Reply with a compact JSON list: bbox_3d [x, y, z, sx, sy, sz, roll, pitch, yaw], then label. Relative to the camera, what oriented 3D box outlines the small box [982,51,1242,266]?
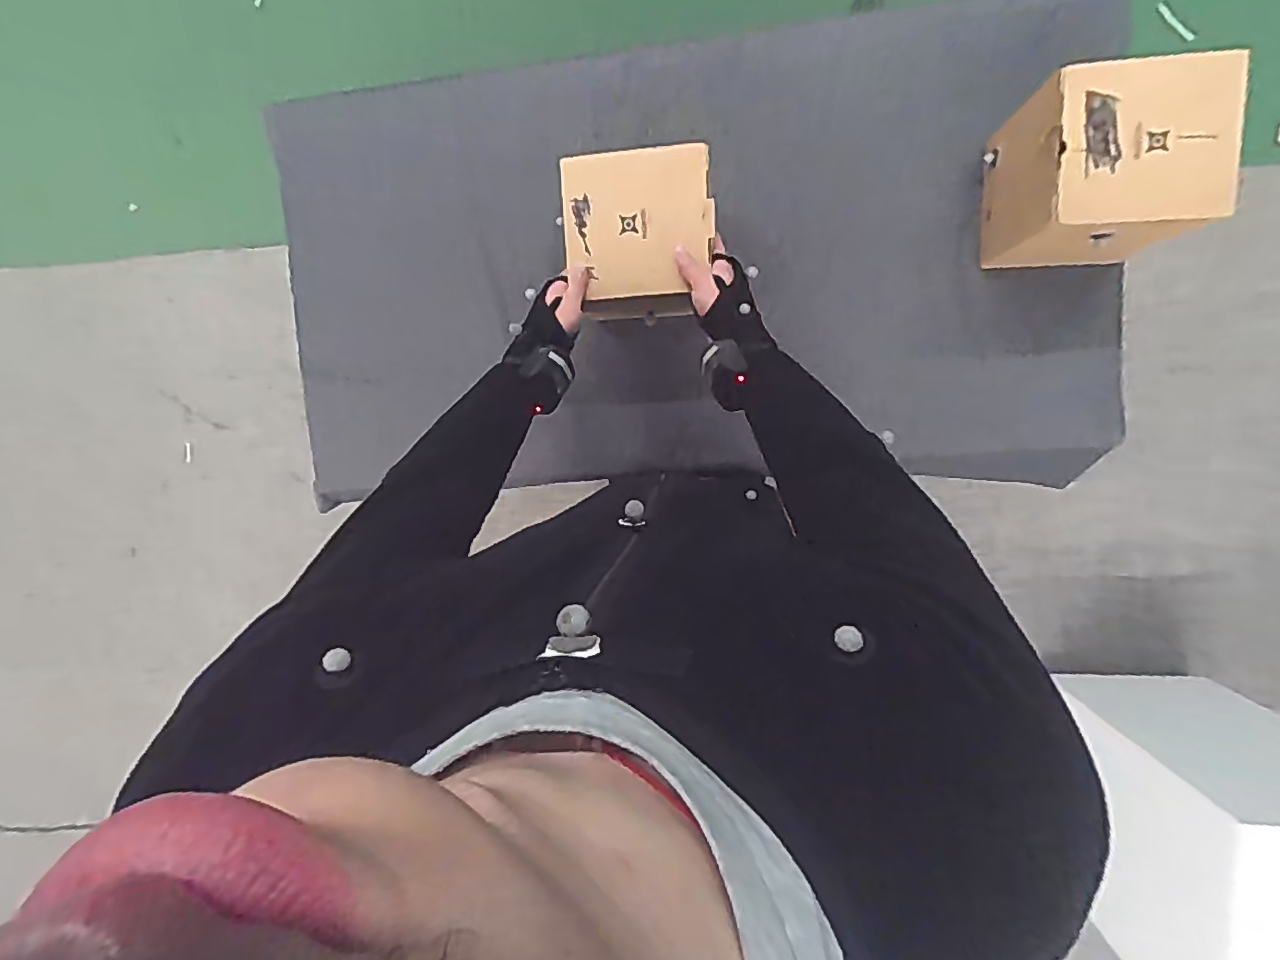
[{"bbox_3d":[0.544,-0.367,0.651,0.179,0.176,0.168,-1,95,4],"label":"small box"}]

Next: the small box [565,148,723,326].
[{"bbox_3d":[0.009,-0.299,0.699,0.179,0.176,0.168,-3,98,4],"label":"small box"}]
